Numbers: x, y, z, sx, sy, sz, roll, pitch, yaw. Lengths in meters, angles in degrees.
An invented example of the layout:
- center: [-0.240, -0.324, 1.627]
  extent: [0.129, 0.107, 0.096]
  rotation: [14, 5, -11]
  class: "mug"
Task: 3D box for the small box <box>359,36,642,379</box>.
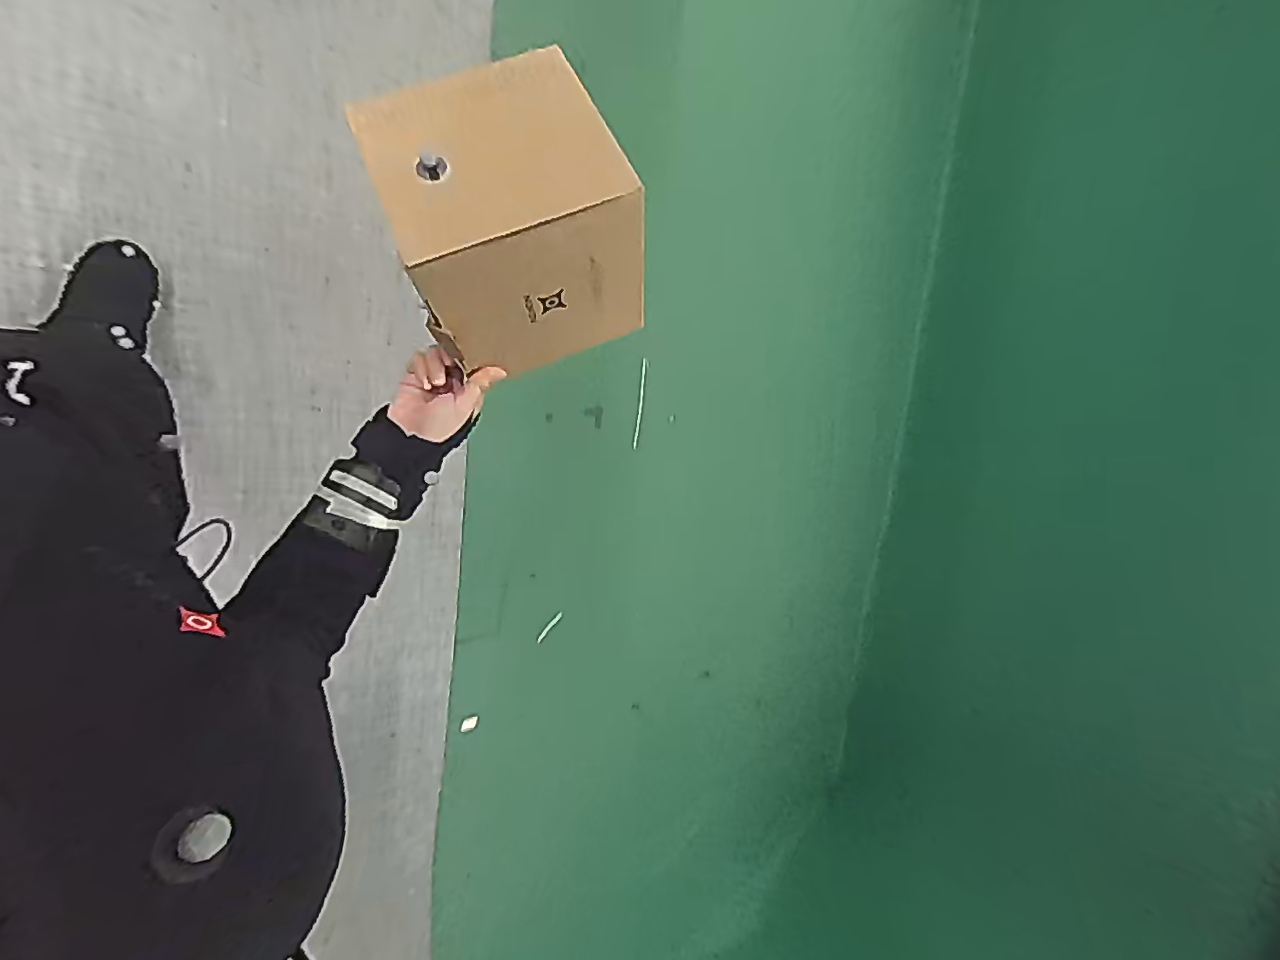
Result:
- center: [-0.112, -0.223, 0.462]
  extent: [0.179, 0.176, 0.168]
  rotation: [-25, 164, -8]
  class: "small box"
